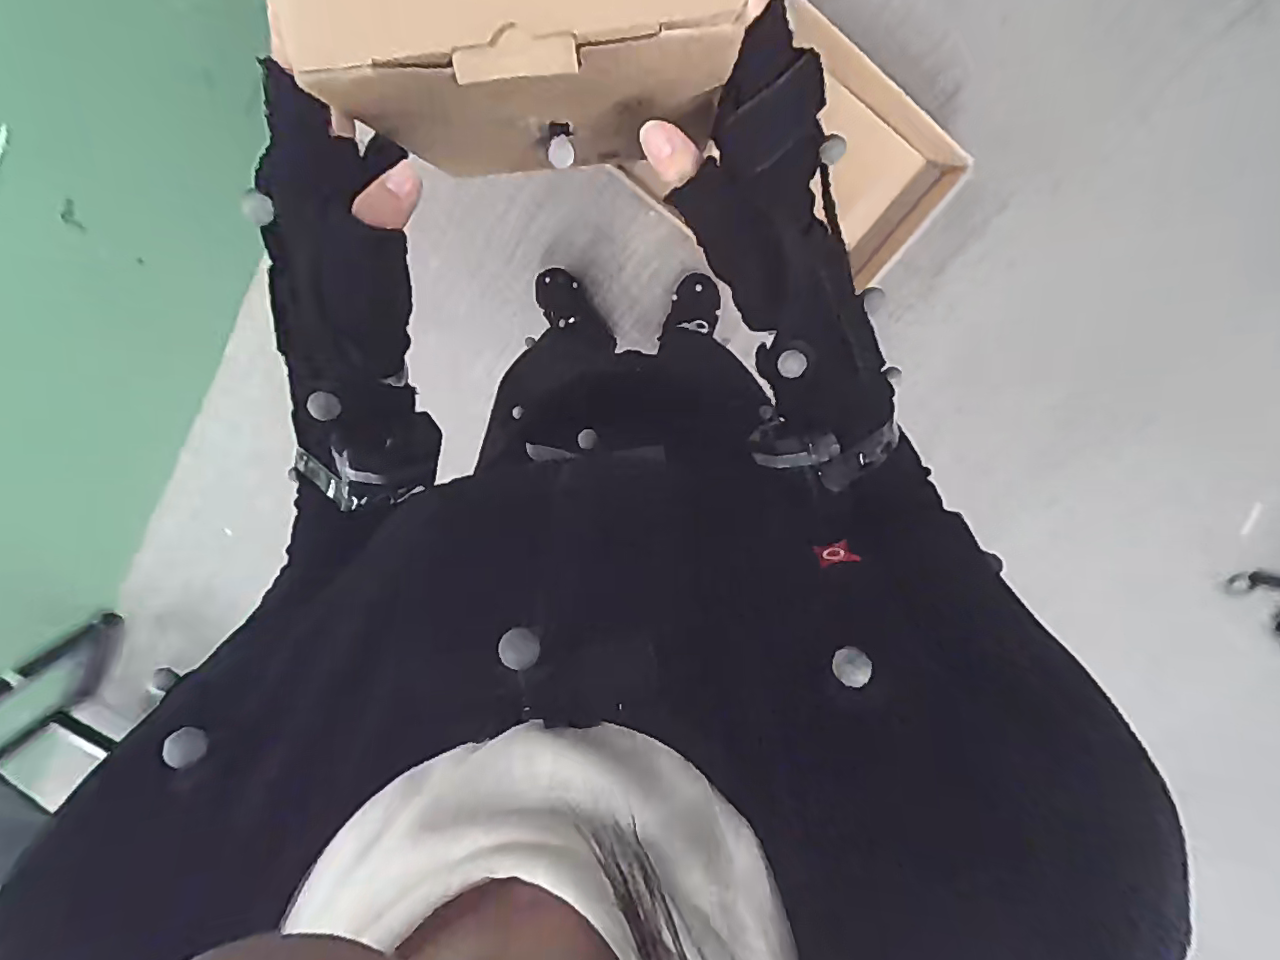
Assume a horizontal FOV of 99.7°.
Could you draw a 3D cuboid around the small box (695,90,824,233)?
[{"bbox_3d":[0.226,-0.613,1.061,0.179,0.176,0.168,36,113,-10],"label":"small box"}]
